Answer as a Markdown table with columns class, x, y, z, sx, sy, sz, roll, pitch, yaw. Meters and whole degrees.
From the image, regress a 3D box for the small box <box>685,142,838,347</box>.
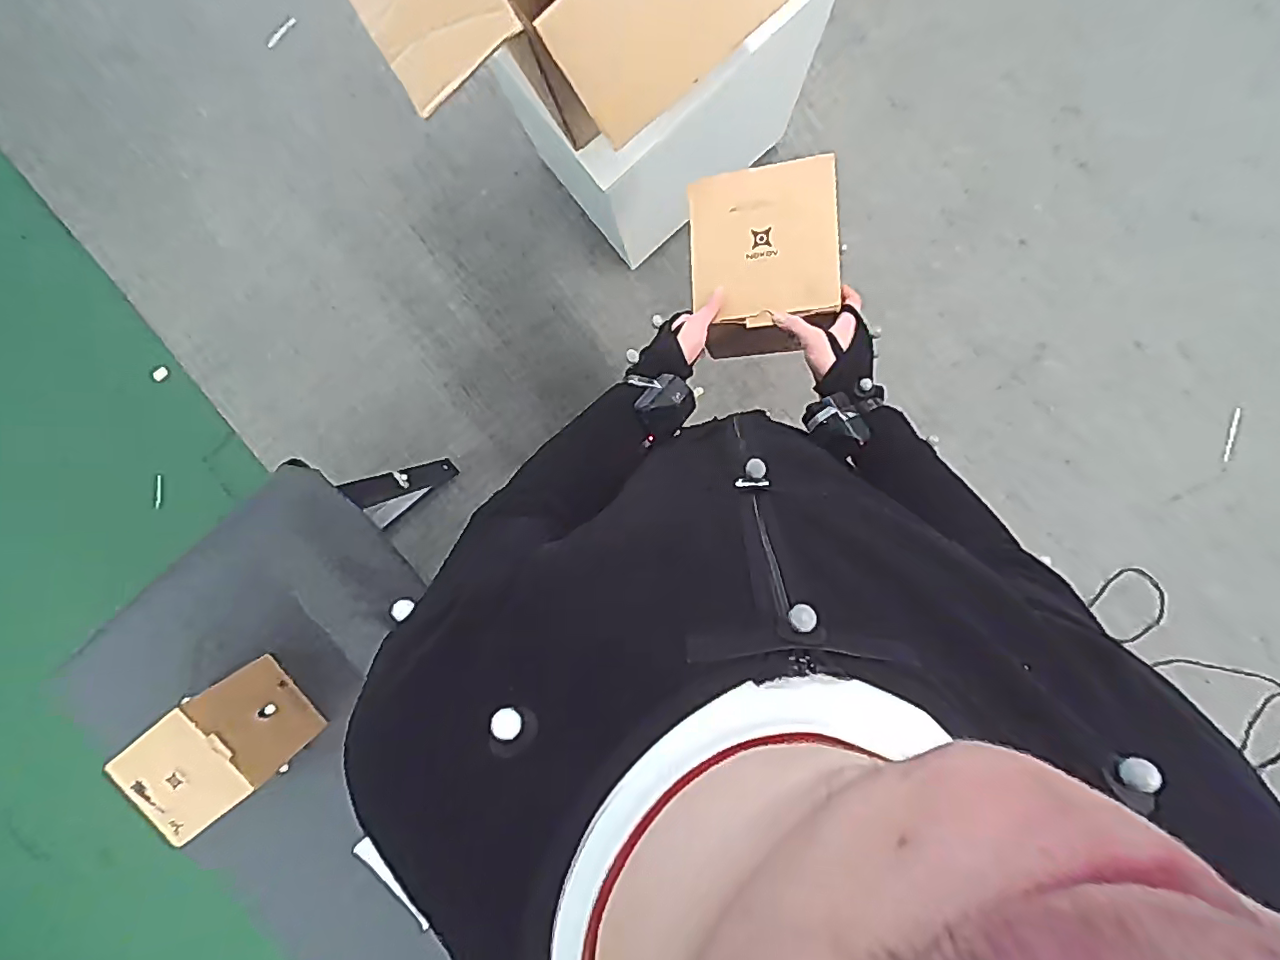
| class | x | y | z | sx | sy | sz | roll | pitch | yaw |
| --- | --- | --- | --- | --- | --- | --- | --- | --- | --- |
| small box | 0.153 | -0.273 | 0.678 | 0.168 | 0.176 | 0.179 | -3 | 87 | 15 |

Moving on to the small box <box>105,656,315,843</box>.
| class | x | y | z | sx | sy | sz | roll | pitch | yaw |
| --- | --- | --- | --- | --- | --- | --- | --- | --- | --- |
| small box | -0.668 | 0.419 | 0.871 | 0.179 | 0.176 | 0.168 | -37 | 94 | 7 |
